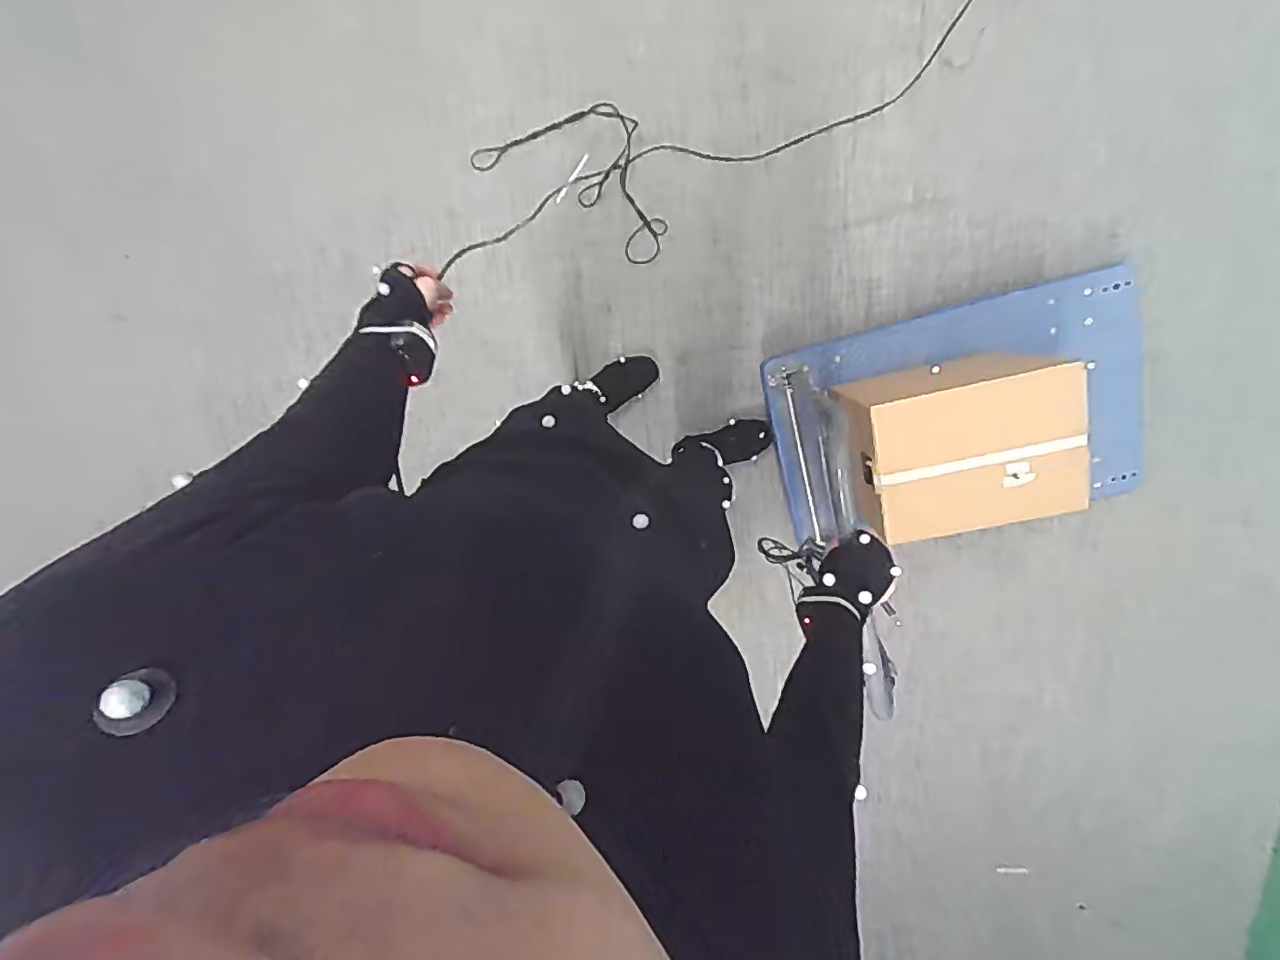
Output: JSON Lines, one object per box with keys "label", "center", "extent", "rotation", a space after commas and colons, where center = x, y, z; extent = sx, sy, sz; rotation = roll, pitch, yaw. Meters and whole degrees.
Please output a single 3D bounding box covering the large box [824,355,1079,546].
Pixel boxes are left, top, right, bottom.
{"label": "large box", "center": [0.682, -0.084, 1.236], "extent": [0.408, 0.320, 0.320], "rotation": [-12, 107, 6]}
